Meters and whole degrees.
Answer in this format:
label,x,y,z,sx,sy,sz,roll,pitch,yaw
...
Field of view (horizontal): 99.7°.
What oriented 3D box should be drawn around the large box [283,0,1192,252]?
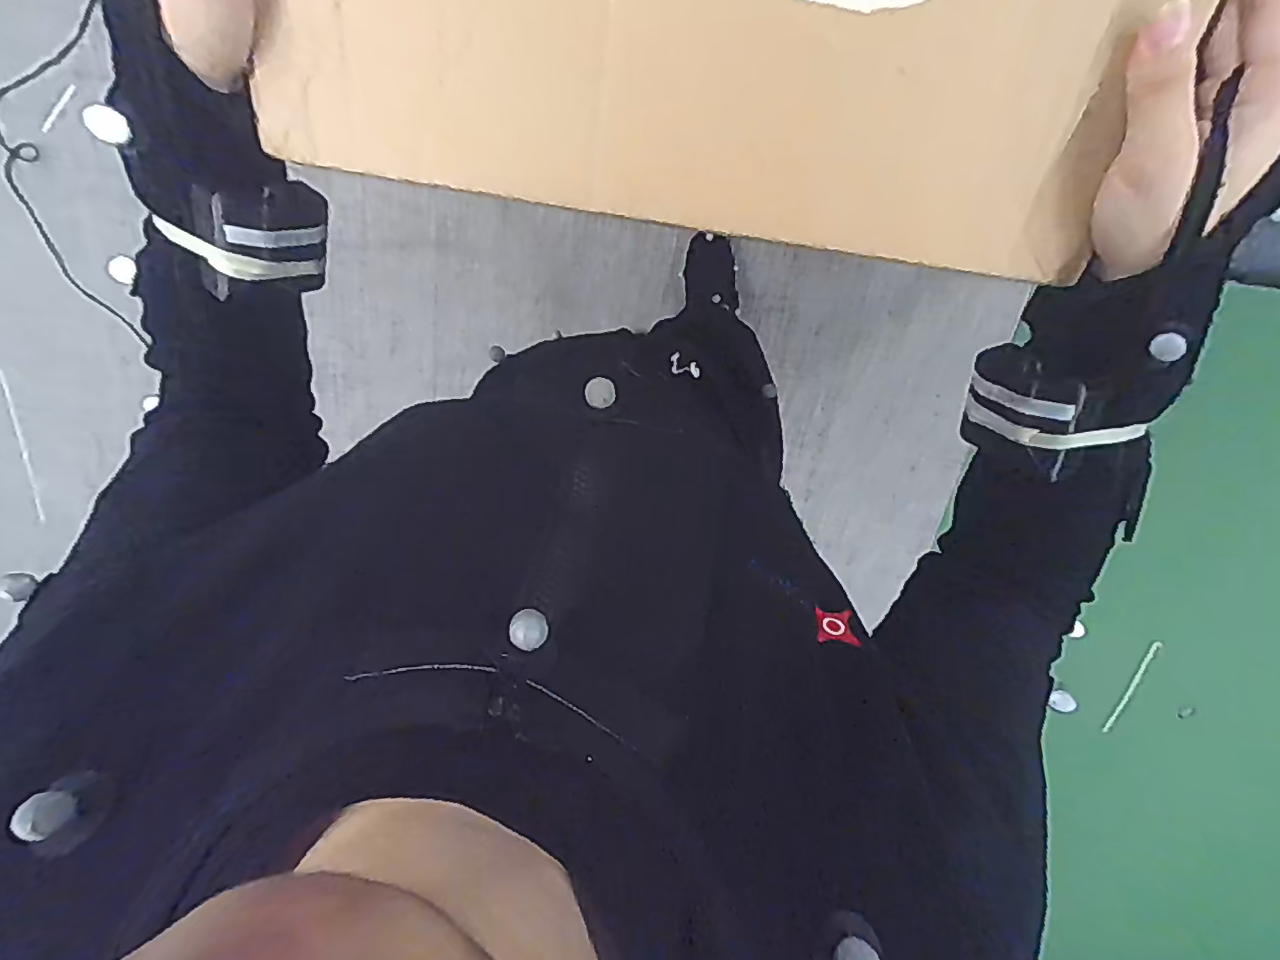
label,x,y,z,sx,sy,sz,roll,pitch,yaw
large box,0.052,-0.341,0.340,0.408,0.320,0.320,9,117,0
